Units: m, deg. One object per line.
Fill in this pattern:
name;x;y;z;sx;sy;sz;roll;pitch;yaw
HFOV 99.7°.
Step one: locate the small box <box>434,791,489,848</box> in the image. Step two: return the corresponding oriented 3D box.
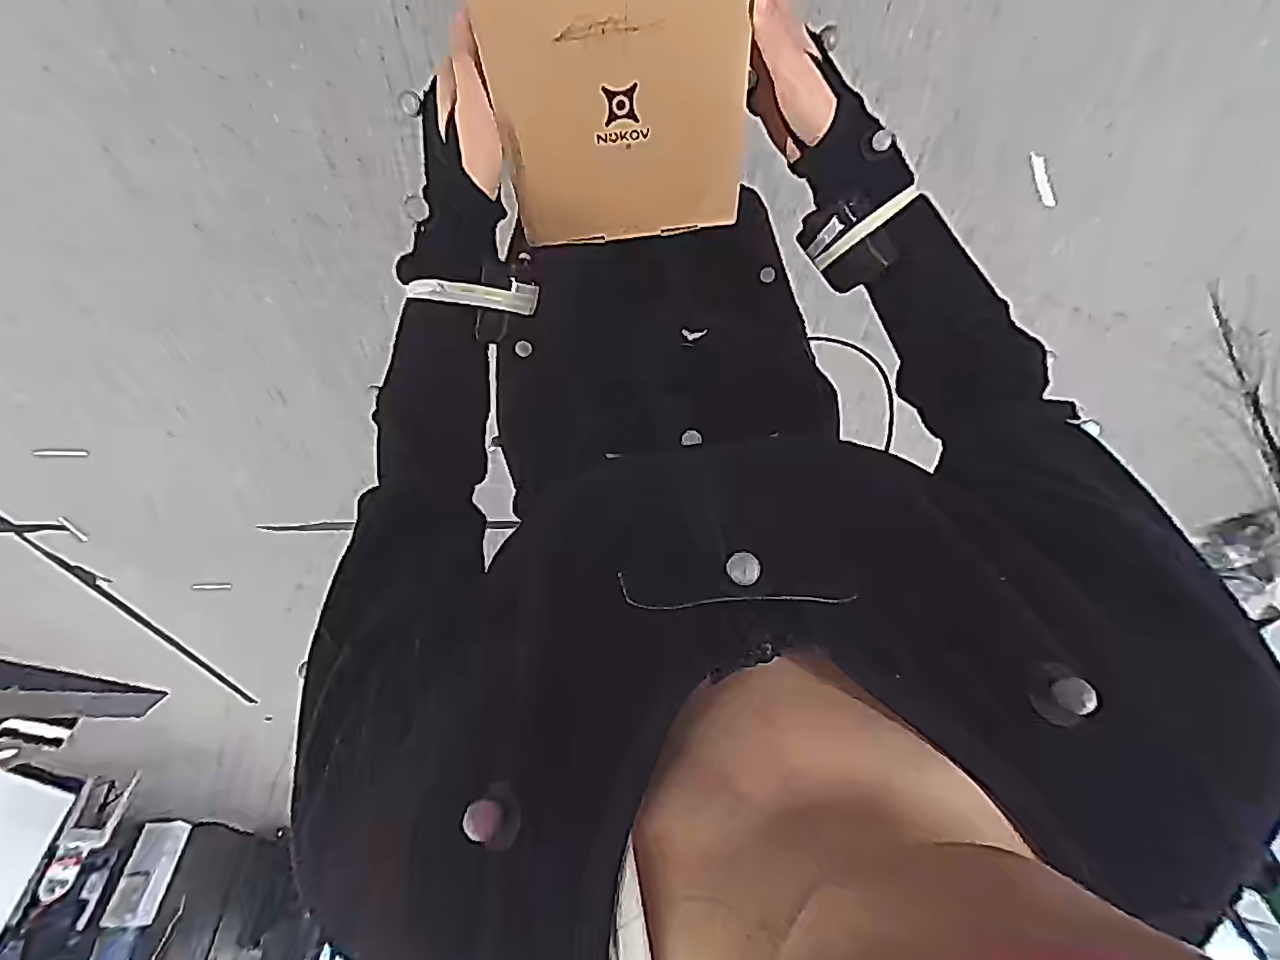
small box;-0.718;1.377;2.192;0.179;0.176;0.168;0;139;-7
